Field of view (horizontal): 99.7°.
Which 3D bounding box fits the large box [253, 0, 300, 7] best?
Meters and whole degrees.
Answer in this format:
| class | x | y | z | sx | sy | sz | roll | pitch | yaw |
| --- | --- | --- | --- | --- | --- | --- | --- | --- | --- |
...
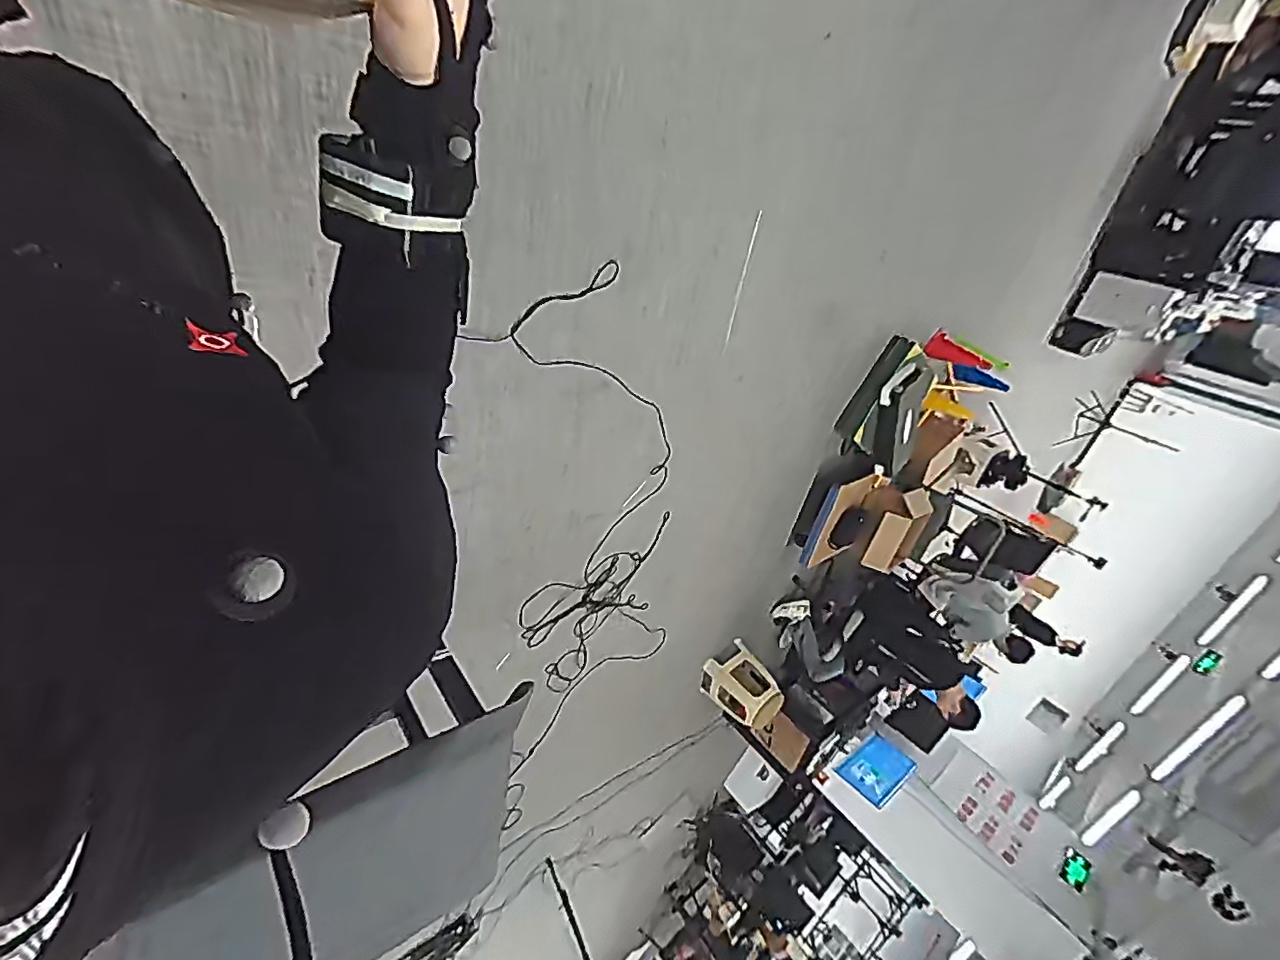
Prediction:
| class | x | y | z | sx | sy | sz | roll | pitch | yaw |
| --- | --- | --- | --- | --- | --- | --- | --- | --- | --- |
| large box | -0.345 | -0.430 | 0.187 | 0.408 | 0.320 | 0.320 | -13 | 129 | -37 |
